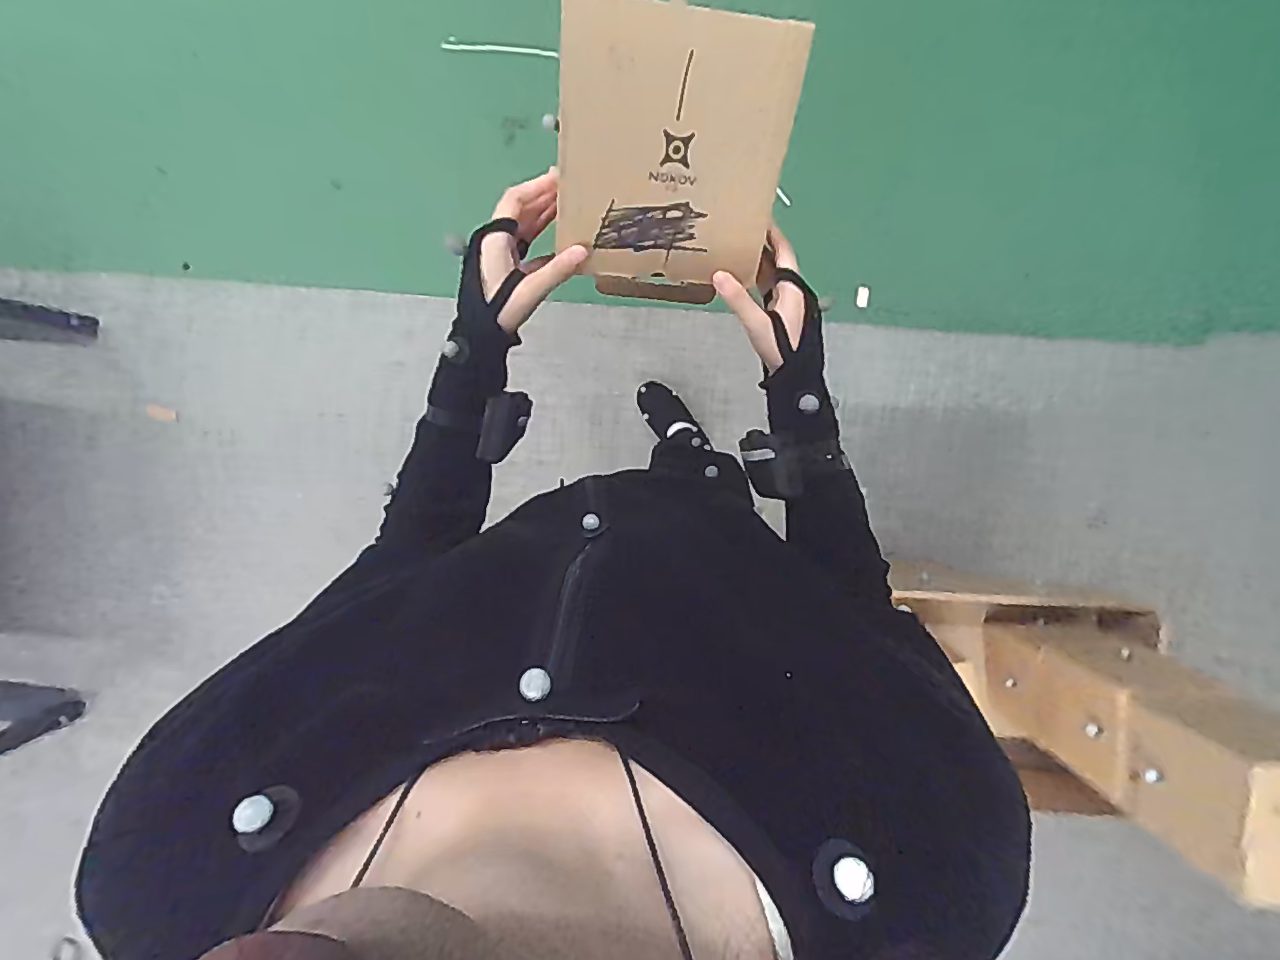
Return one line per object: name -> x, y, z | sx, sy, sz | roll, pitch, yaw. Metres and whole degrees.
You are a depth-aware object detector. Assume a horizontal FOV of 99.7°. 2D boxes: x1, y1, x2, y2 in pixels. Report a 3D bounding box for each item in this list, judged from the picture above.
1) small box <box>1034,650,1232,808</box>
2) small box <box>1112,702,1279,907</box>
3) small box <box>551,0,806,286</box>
small box -> 0.760, 0.384, 0.853 | 0.168, 0.176, 0.179 | -1, 92, 3
small box -> 0.764, 0.399, 0.688 | 0.179, 0.176, 0.168 | 1, 92, 3
small box -> 0.013, -0.286, 0.459 | 0.168, 0.176, 0.179 | 2, 127, -9
